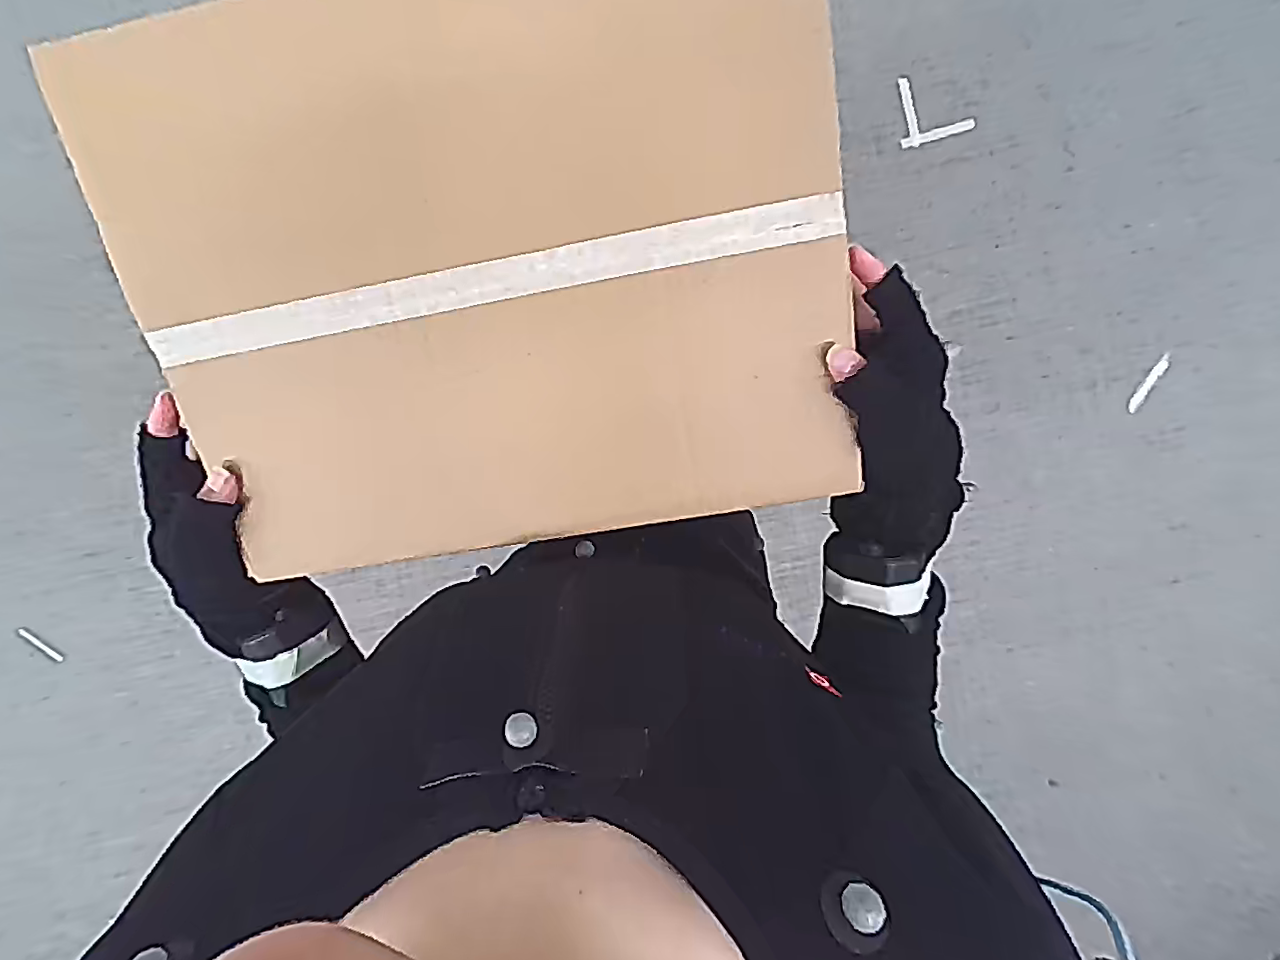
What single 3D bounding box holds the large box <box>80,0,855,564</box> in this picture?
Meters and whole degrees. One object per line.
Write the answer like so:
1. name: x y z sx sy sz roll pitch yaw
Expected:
1. large box: -0.082 -0.160 0.459 0.408 0.320 0.320 -9 107 5
